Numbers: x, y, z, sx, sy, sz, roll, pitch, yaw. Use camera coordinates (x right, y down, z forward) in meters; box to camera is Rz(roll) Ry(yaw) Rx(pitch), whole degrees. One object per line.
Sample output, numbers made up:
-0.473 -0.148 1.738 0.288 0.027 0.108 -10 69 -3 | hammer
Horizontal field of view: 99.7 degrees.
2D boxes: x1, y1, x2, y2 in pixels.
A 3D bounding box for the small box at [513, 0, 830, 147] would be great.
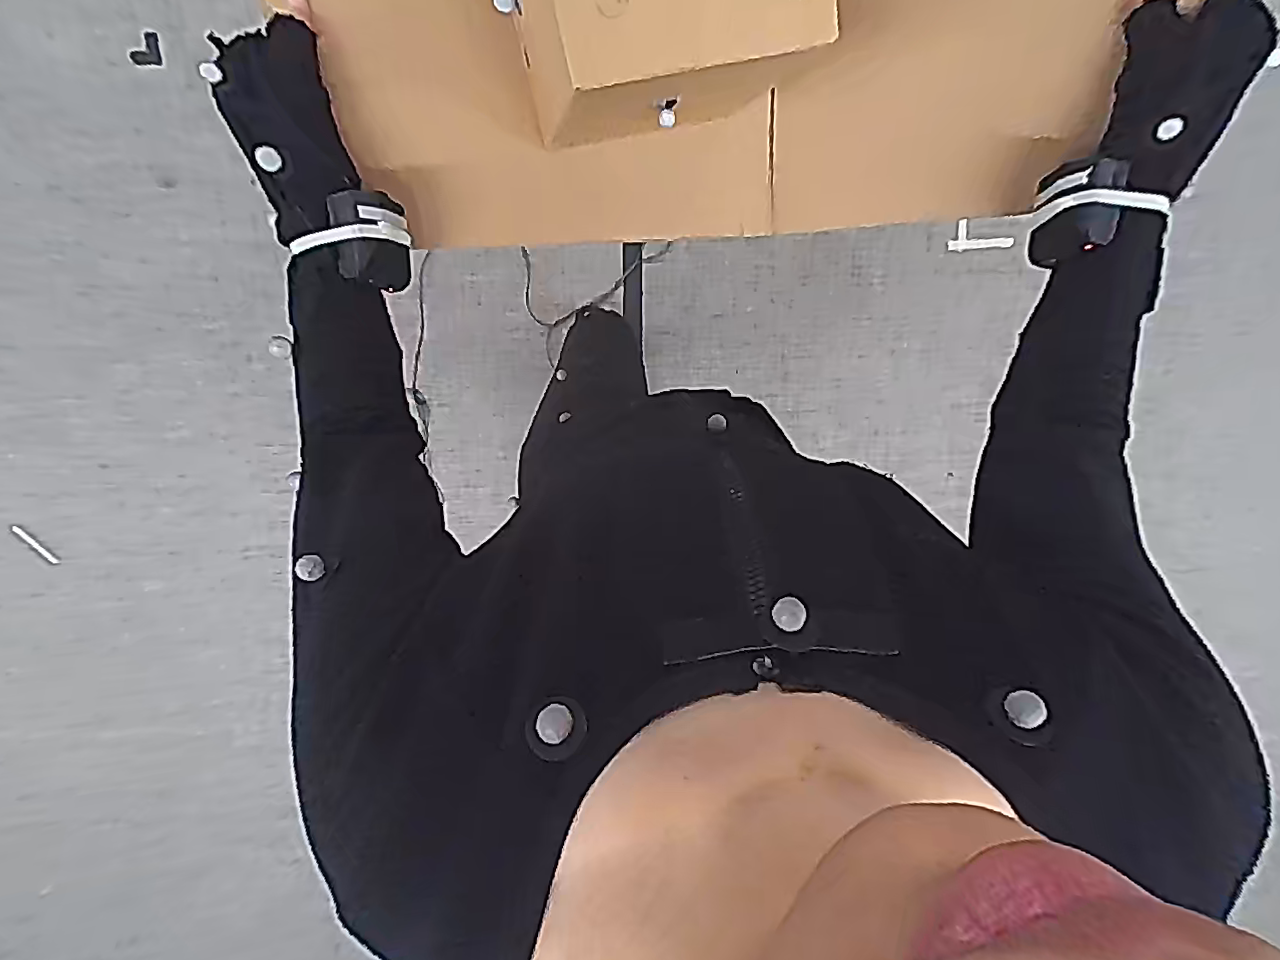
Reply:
0.007 -0.356 0.379 0.179 0.176 0.168 -17 112 -9 | small box
